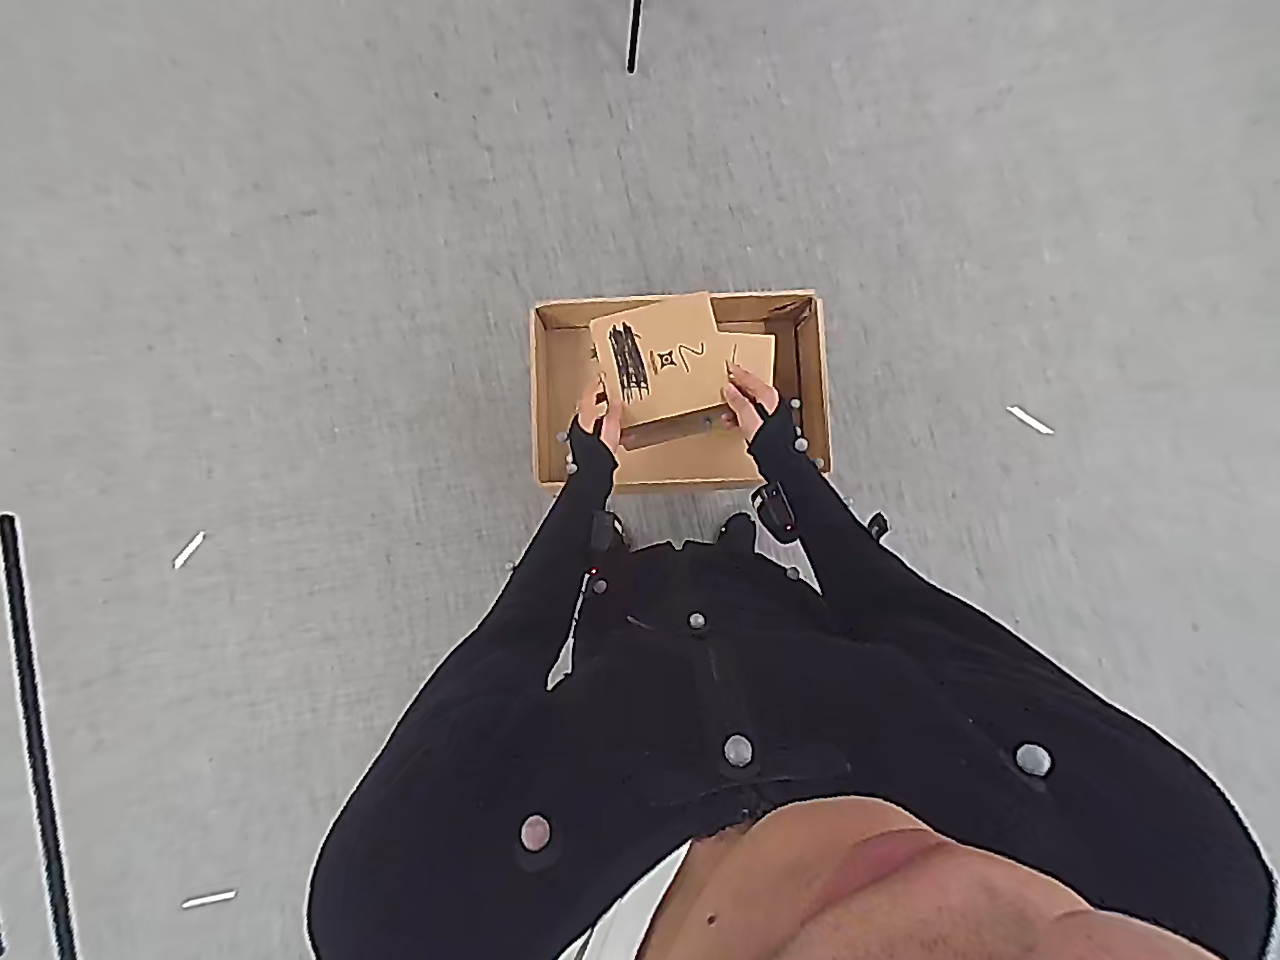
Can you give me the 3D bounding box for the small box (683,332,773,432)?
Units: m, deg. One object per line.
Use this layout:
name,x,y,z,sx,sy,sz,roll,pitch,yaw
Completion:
small box,0.184,-0.204,1.176,0.168,0.176,0.179,4,85,0
